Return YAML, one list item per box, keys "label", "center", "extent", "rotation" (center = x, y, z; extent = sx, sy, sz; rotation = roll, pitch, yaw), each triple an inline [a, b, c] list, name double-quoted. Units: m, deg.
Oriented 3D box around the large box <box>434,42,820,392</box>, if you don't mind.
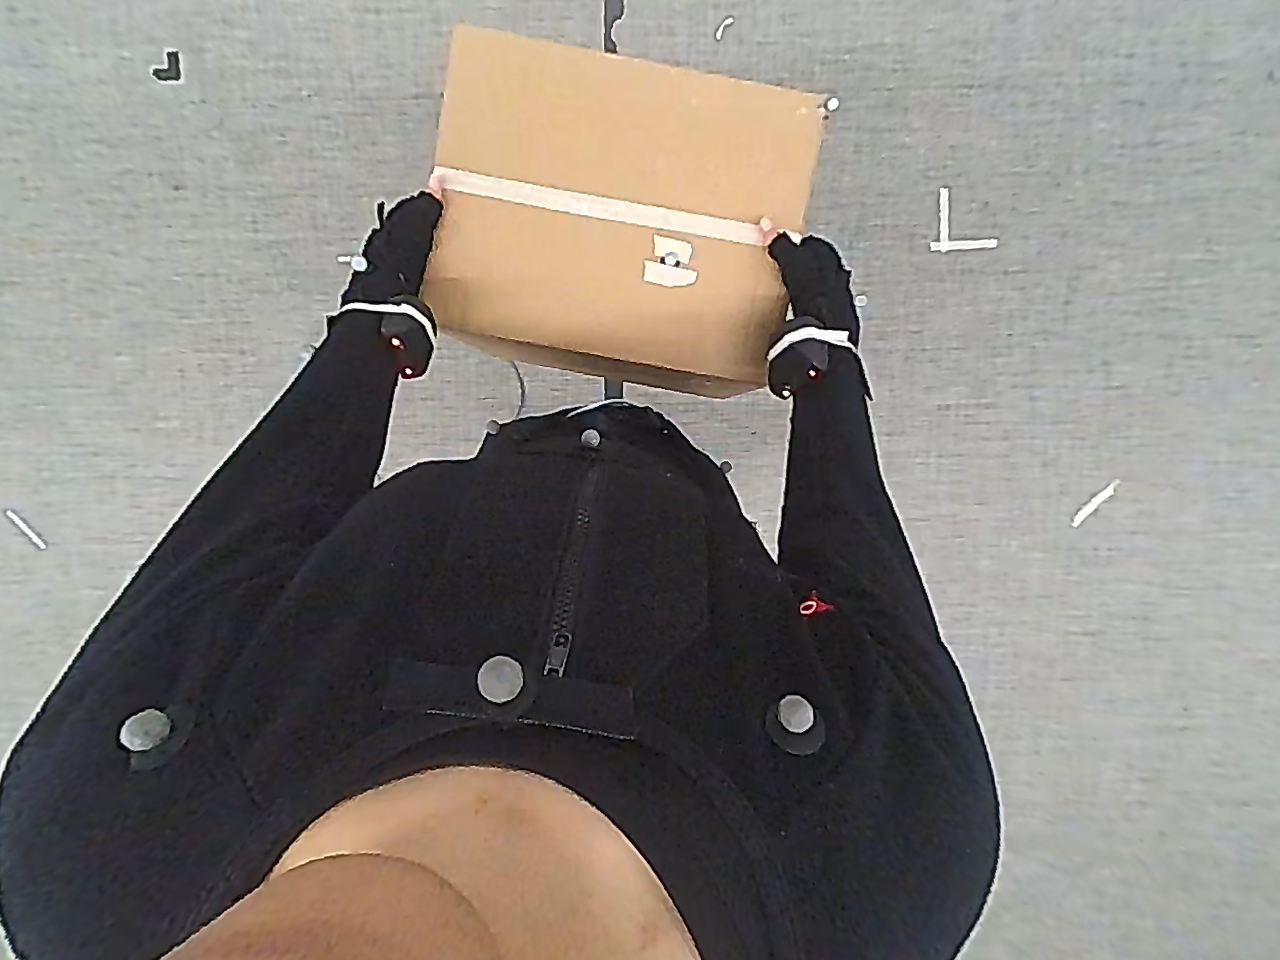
- label: "large box"
  center: [-0.024, -0.314, 0.758]
  extent: [0.408, 0.320, 0.320]
  rotation: [10, 97, -3]
